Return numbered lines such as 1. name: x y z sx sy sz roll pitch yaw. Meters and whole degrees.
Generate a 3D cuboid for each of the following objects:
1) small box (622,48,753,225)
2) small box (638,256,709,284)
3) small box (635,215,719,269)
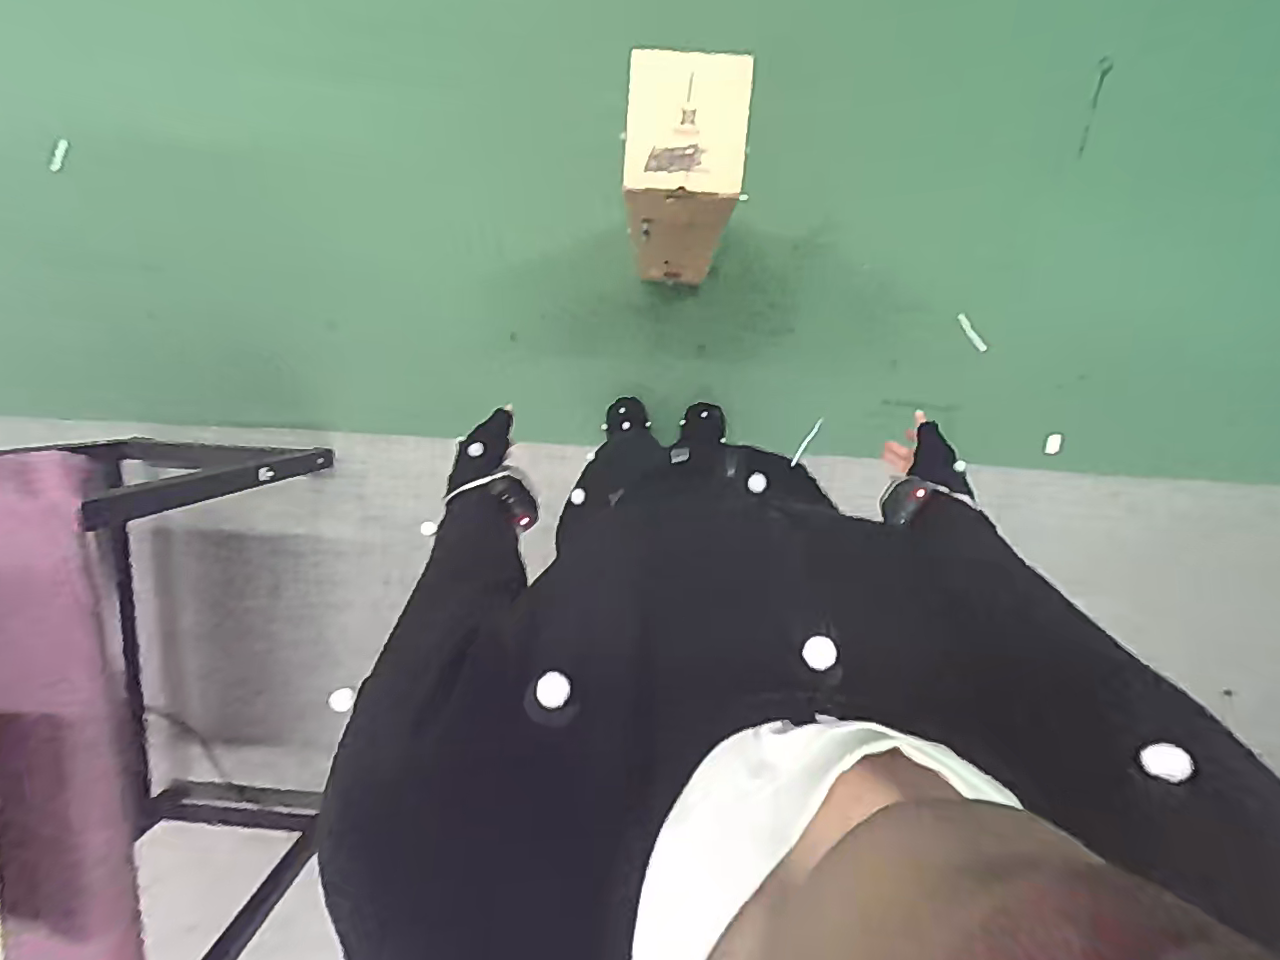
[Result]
1. small box: 0.066 -0.501 0.815 0.168 0.176 0.179 4 99 1
2. small box: 0.086 -0.585 1.300 0.168 0.176 0.179 6 100 1
3. small box: 0.078 -0.558 1.139 0.168 0.176 0.179 4 100 1
